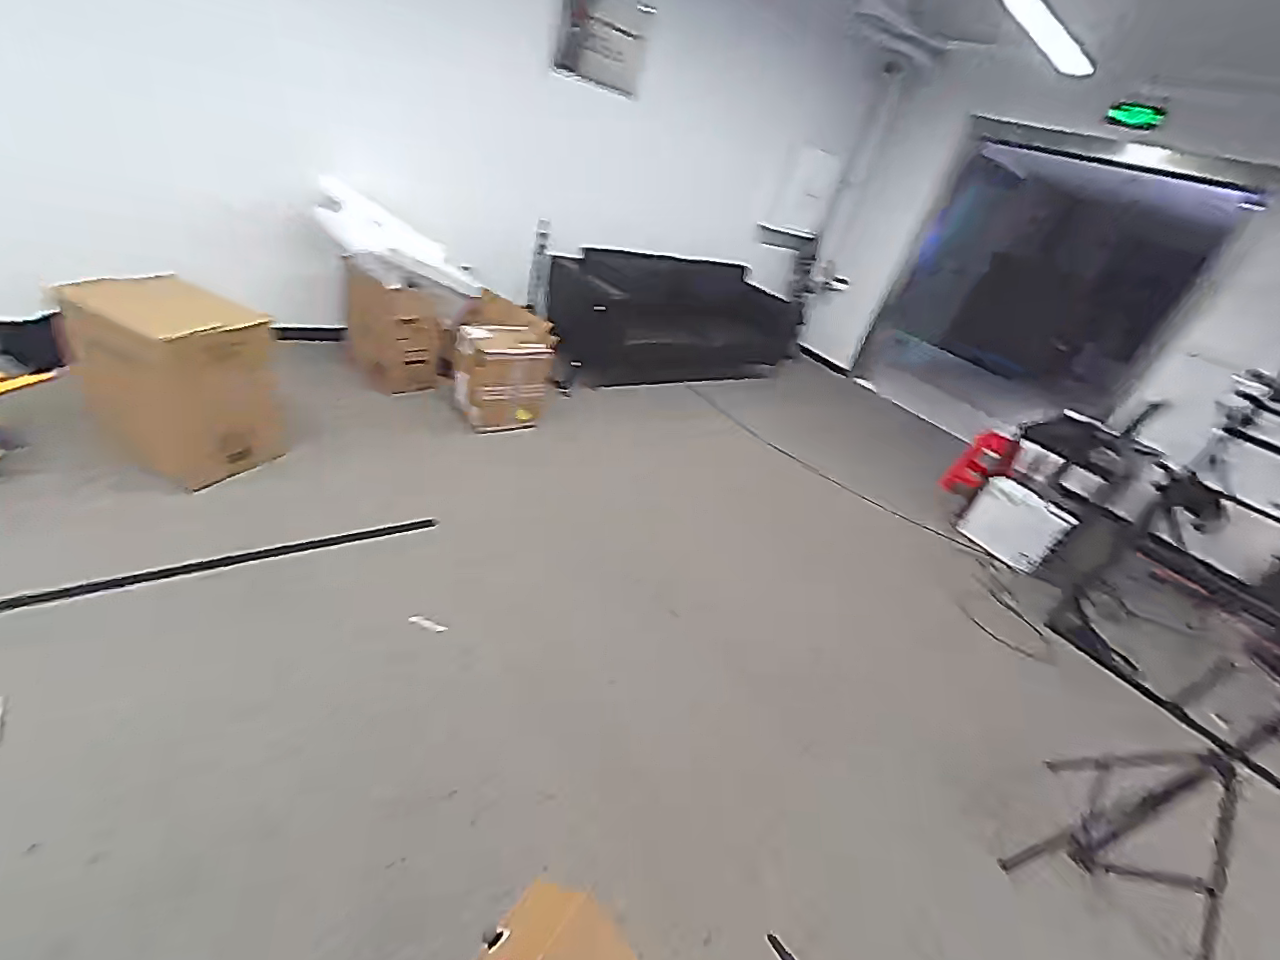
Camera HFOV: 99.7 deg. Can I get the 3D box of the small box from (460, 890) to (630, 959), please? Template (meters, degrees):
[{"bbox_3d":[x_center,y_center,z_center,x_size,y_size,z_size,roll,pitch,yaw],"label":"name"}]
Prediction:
[{"bbox_3d":[-0.091,0.531,0.514,0.179,0.176,0.168,49,48,5],"label":"small box"}]
